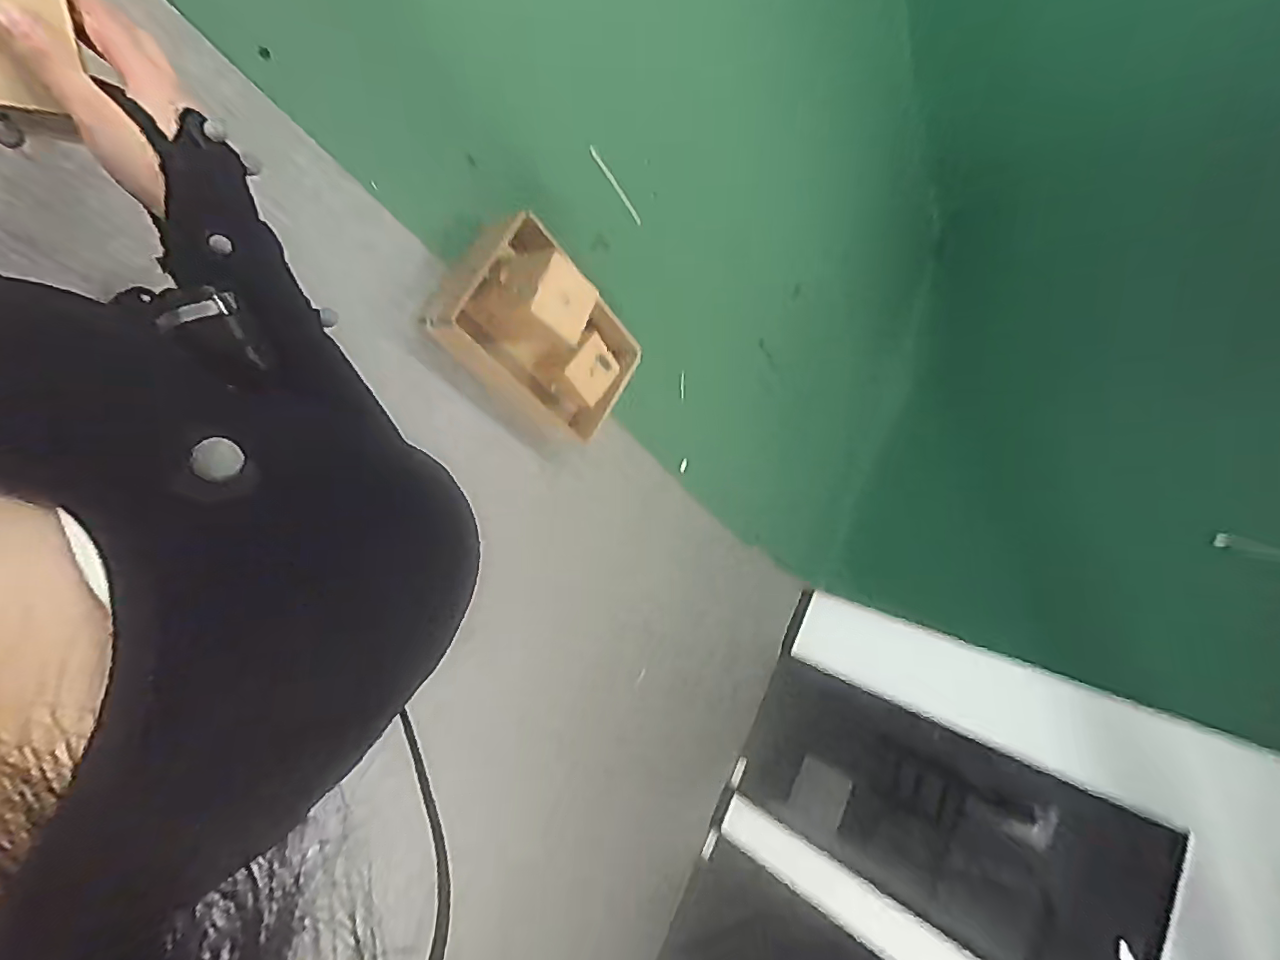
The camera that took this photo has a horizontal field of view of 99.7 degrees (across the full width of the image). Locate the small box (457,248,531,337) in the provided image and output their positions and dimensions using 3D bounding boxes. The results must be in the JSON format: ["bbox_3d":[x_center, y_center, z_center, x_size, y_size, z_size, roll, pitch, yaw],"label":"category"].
[{"bbox_3d":[-0.379,-0.525,1.530,0.179,0.176,0.168,44,70,-46],"label":"small box"}]

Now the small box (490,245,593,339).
[{"bbox_3d":[-0.262,-0.490,1.420,0.179,0.176,0.168,30,81,-51],"label":"small box"}]

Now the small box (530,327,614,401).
[{"bbox_3d":[-0.222,-0.384,1.757,0.179,0.176,0.168,-56,136,-17],"label":"small box"}]

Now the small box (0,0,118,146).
[{"bbox_3d":[-0.434,-0.300,0.304,0.179,0.176,0.168,-14,119,-39],"label":"small box"}]
